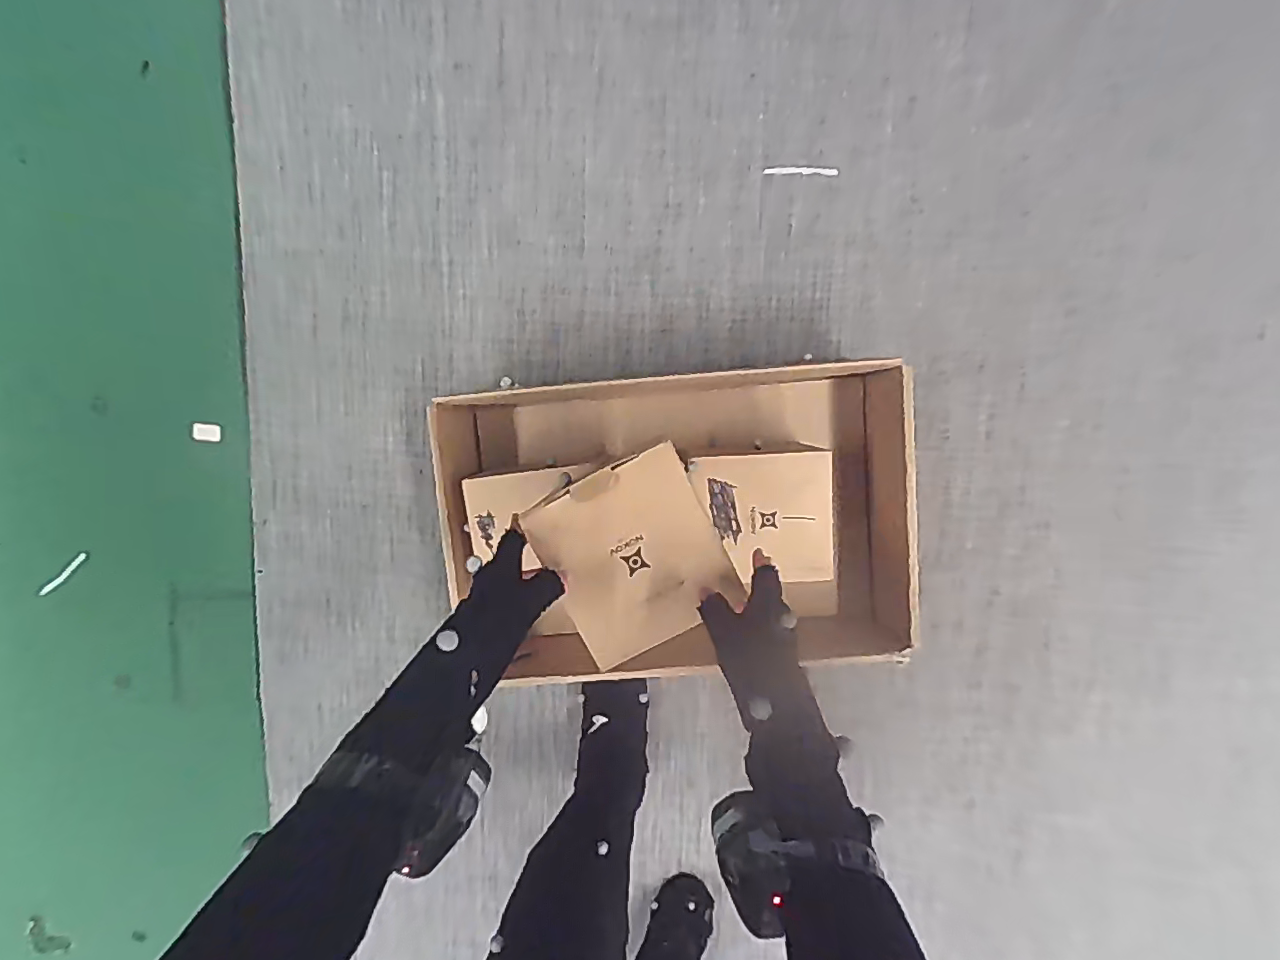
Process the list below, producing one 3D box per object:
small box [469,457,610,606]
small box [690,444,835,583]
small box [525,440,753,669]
[{"bbox_3d":[-0.120,0.063,0.765,0.179,0.176,0.168,-8,96,1],"label":"small box"},{"bbox_3d":[0.159,0.039,0.750,0.179,0.176,0.168,-3,97,4],"label":"small box"},{"bbox_3d":[0.000,0.066,0.599,0.168,0.176,0.179,-29,96,6],"label":"small box"}]
